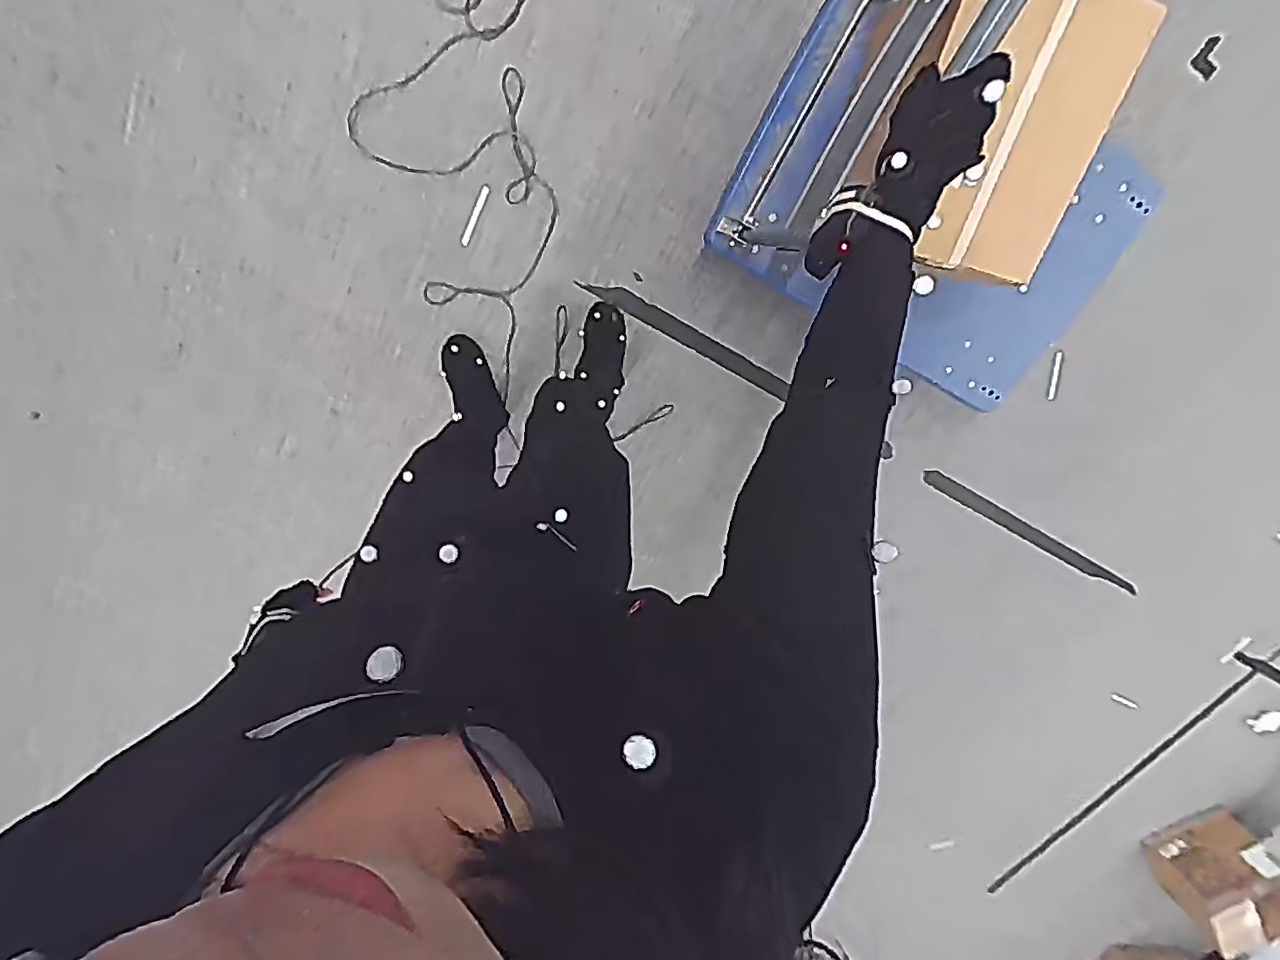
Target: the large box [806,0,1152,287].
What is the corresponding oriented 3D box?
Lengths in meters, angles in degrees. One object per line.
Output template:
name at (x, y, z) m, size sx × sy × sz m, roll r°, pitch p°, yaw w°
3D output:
large box at (0.559, -0.609, 0.986) m, size 0.320 × 0.320 × 0.408 m, roll 11°, pitch 114°, yaw -10°
